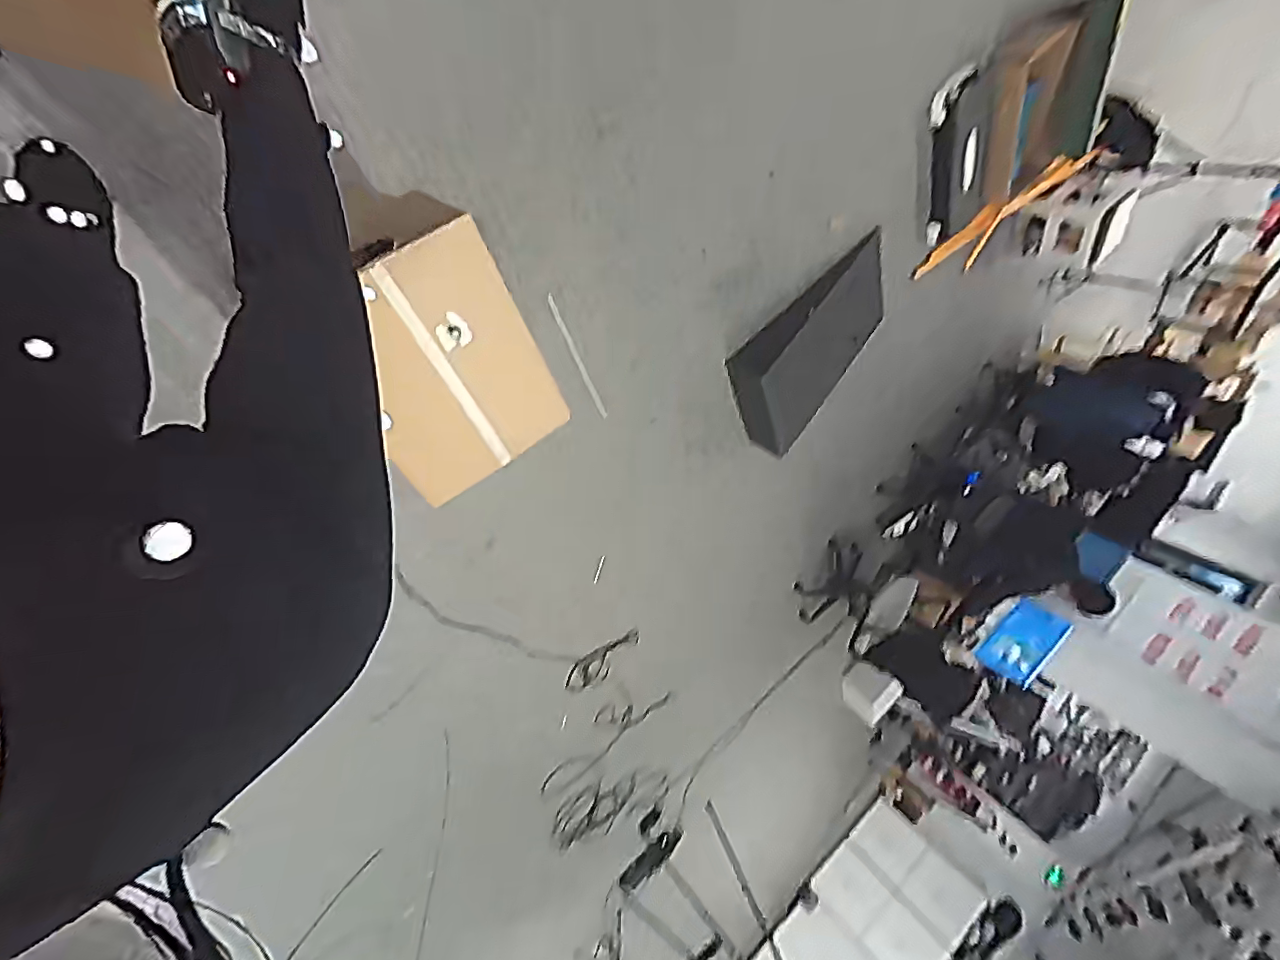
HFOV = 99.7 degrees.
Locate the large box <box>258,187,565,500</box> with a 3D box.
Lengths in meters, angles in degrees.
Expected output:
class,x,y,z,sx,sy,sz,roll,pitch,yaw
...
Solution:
class,x,y,z,sx,sy,sz,roll,pitch,yaw
large box,-0.397,-0.246,0.978,0.320,0.320,0.408,-35,134,-13
